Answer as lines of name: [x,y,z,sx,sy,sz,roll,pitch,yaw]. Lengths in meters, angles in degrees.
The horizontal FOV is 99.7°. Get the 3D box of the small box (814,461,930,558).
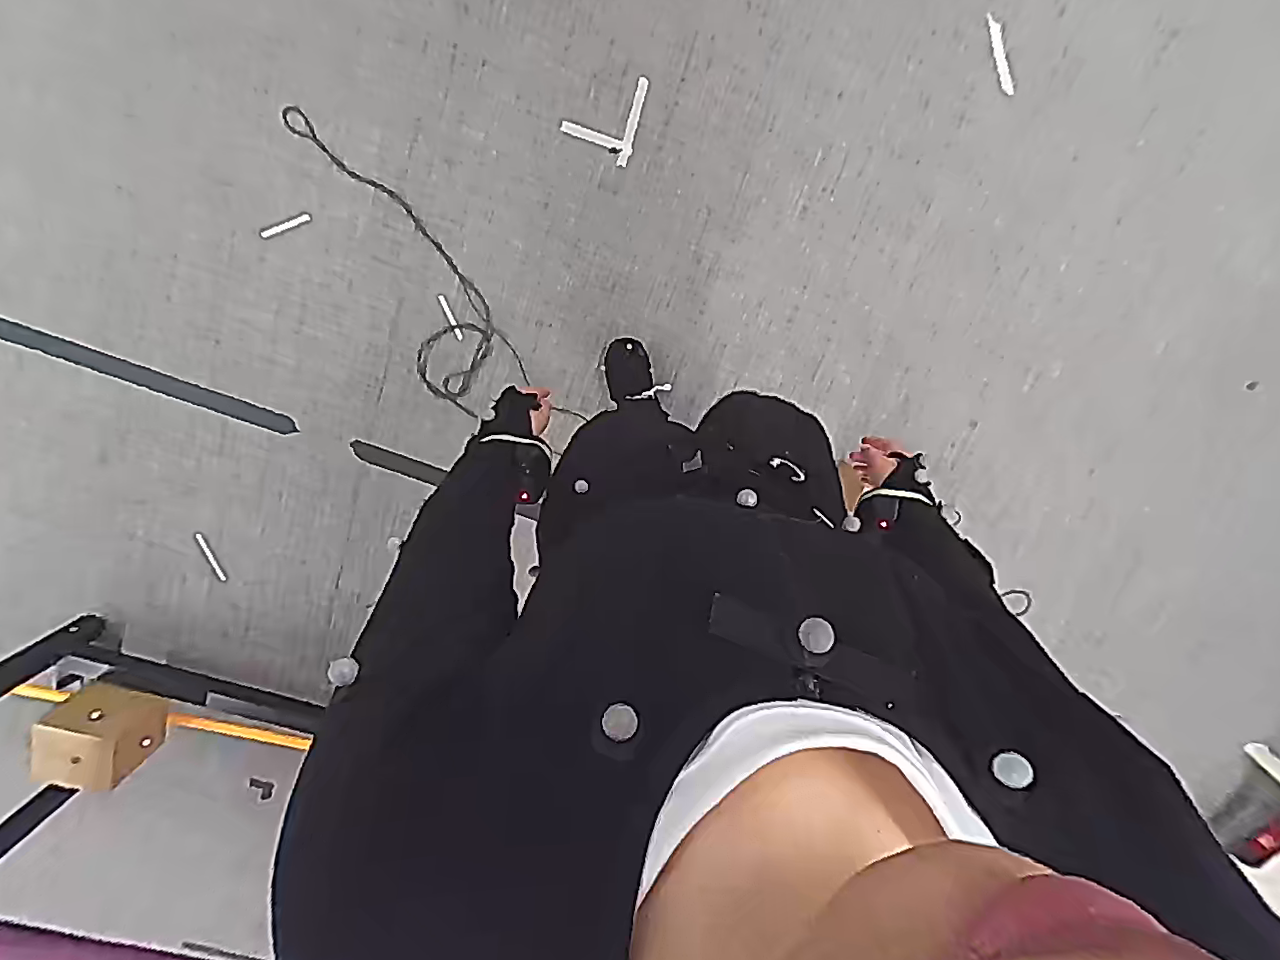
small box: [0.562,0.066,1.335,0.179,0.176,0.168,18,105,-6]

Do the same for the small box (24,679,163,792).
small box: [-1.313,0.611,1.310,0.179,0.176,0.168,17,104,-8]
